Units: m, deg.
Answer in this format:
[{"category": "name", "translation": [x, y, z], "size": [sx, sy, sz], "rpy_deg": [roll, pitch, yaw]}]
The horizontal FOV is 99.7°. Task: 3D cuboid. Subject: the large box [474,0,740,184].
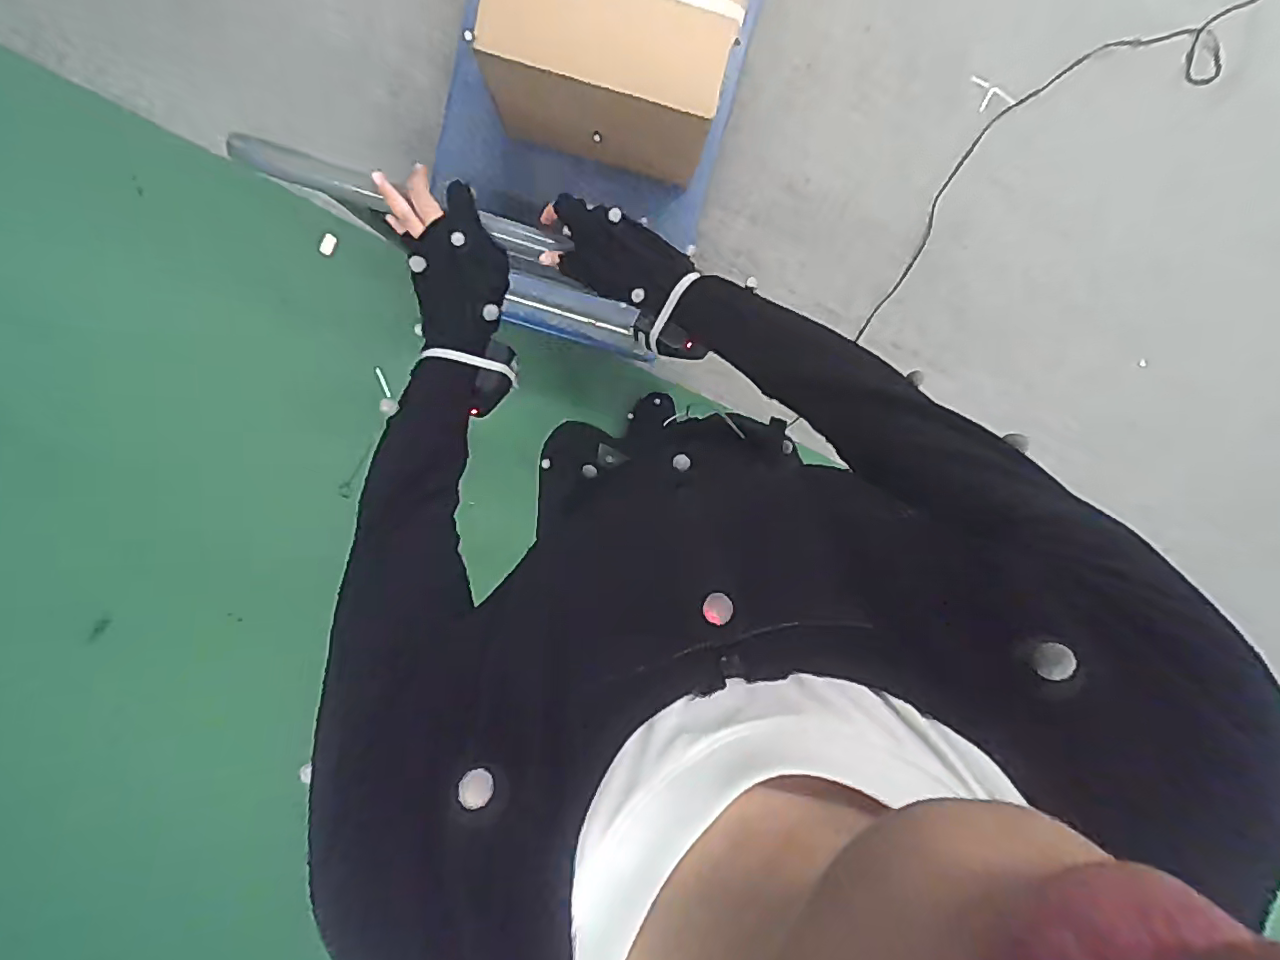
[{"category": "large box", "translation": [-0.043, -0.807, 1.003], "size": [0.408, 0.320, 0.320], "rpy_deg": [14, 98, -4]}]
